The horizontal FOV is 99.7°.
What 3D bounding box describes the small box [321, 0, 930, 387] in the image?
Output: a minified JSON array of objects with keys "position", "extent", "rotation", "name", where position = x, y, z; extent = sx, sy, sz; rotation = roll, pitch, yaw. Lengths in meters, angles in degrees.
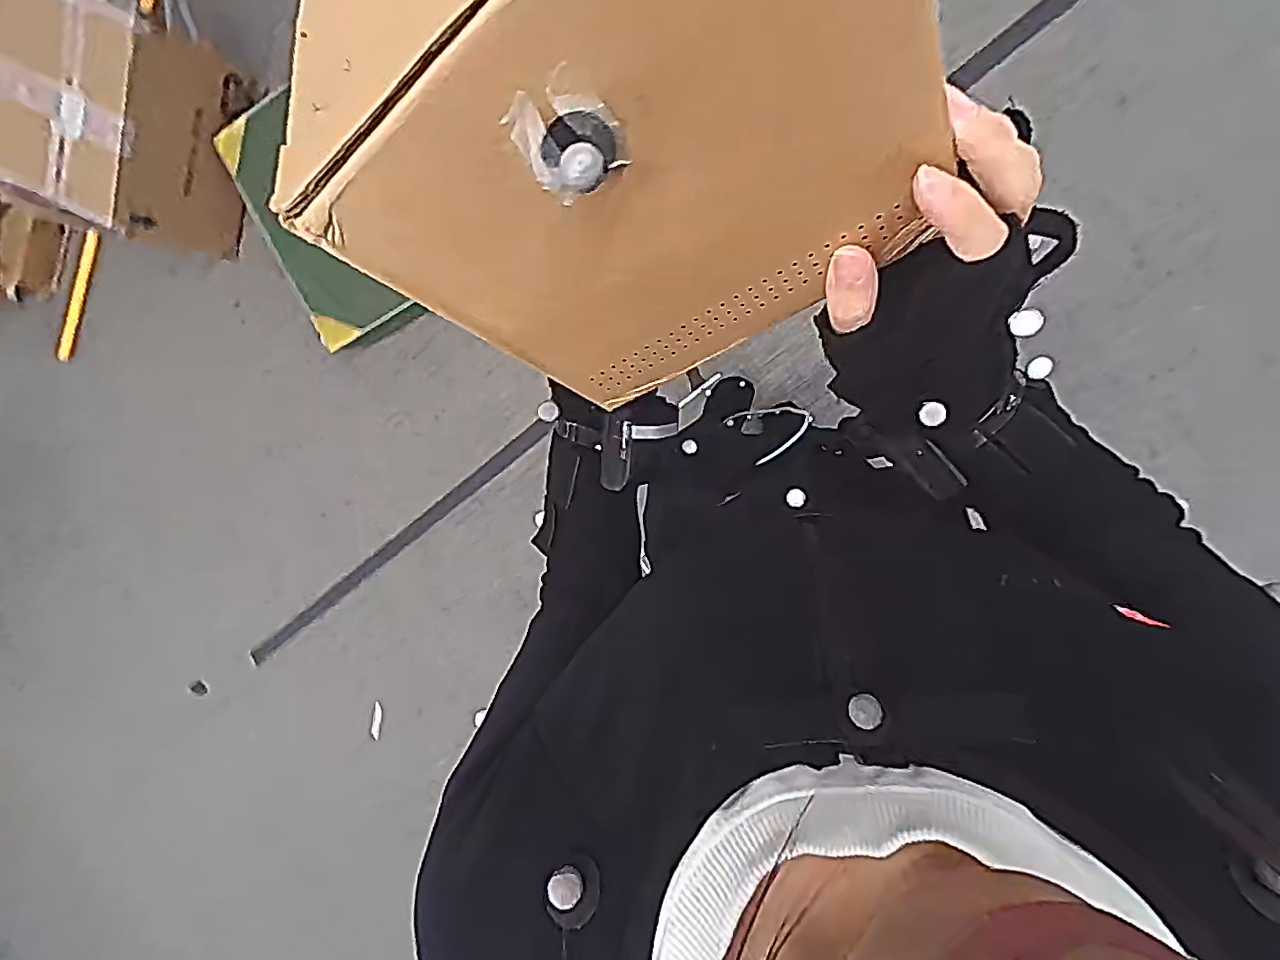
[{"position":[-0.002,-0.165,0.233],"extent":[0.179,0.176,0.168],"rotation":[-23,65,27],"name":"small box"}]
